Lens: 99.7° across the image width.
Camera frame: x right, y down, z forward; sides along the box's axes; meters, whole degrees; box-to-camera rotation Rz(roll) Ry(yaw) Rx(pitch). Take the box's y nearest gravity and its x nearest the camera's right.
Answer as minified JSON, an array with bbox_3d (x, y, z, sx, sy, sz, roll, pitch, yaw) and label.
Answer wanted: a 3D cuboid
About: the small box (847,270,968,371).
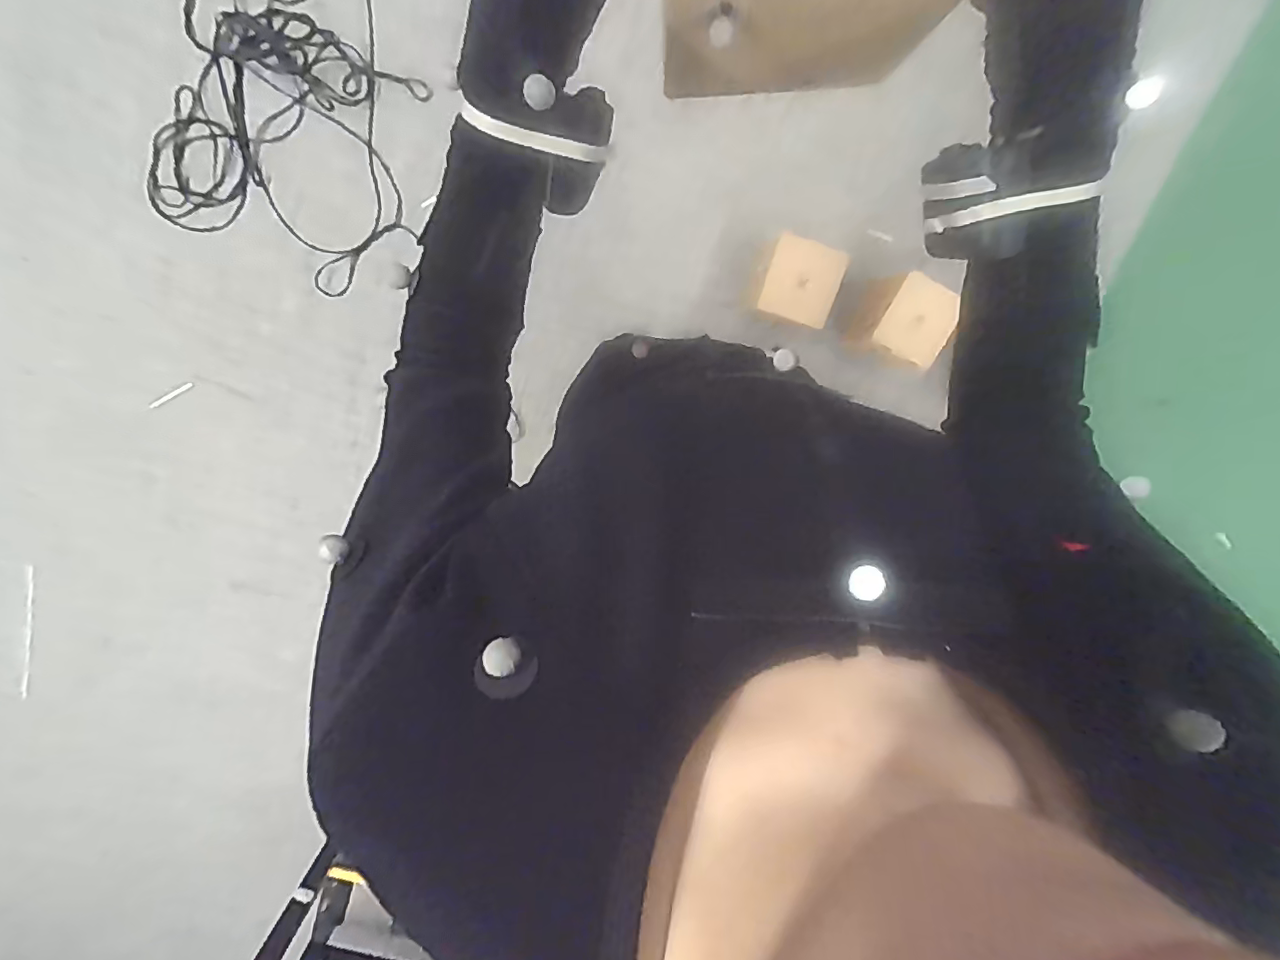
[{"bbox_3d":[0.639,-0.385,1.319,0.168,0.176,0.179,25,103,-7],"label":"small box"}]

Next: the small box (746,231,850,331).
[{"bbox_3d":[0.366,-0.467,1.292,0.168,0.176,0.179,17,105,-3],"label":"small box"}]
